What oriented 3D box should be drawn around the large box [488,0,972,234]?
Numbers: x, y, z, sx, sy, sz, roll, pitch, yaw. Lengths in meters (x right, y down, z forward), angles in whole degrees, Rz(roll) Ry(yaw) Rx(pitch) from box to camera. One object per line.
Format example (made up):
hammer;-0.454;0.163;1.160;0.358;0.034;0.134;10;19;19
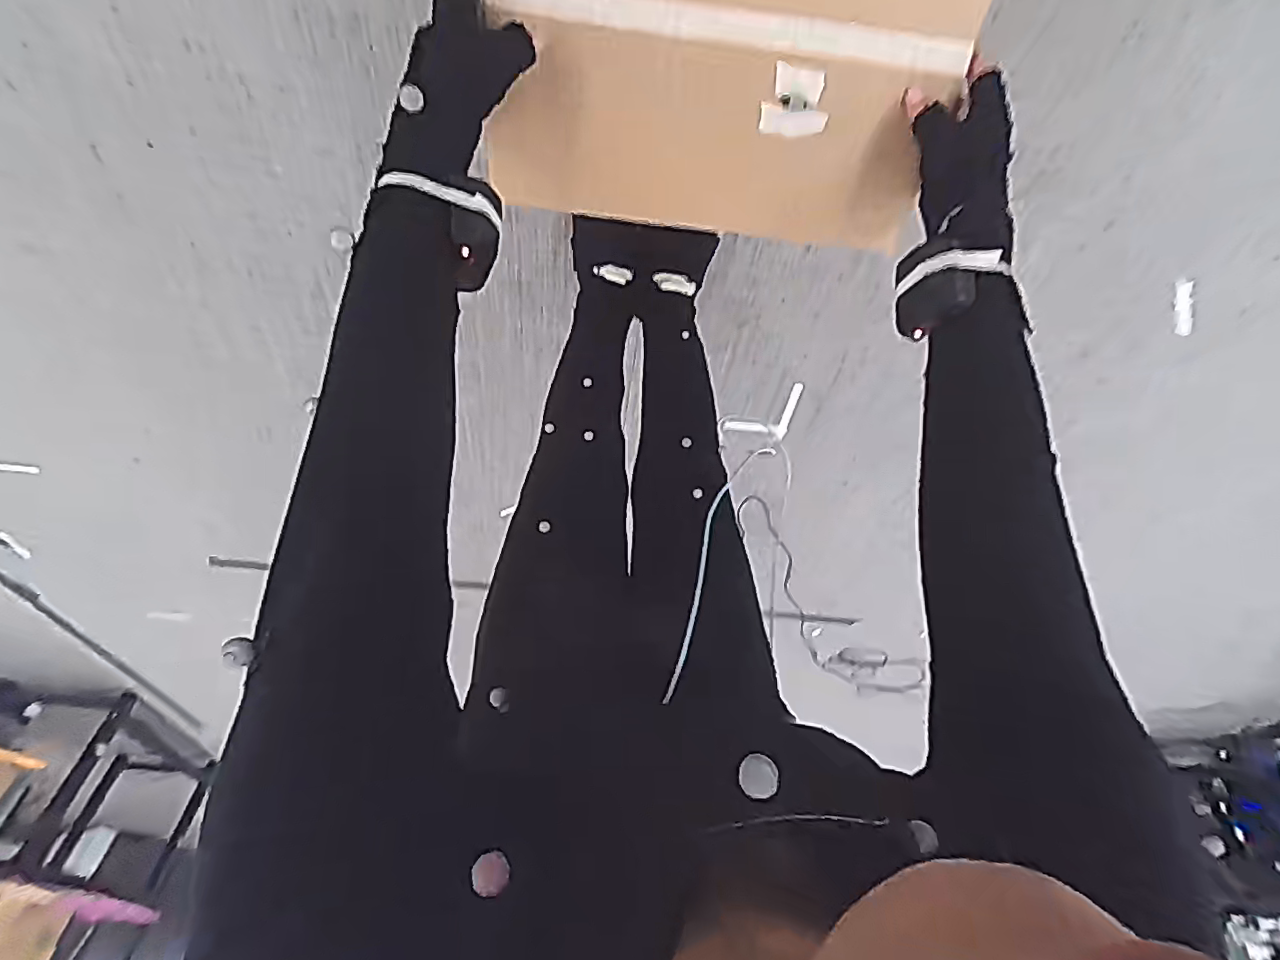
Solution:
large box;0.070;-0.481;0.565;0.408;0.320;0.320;5;131;-4
